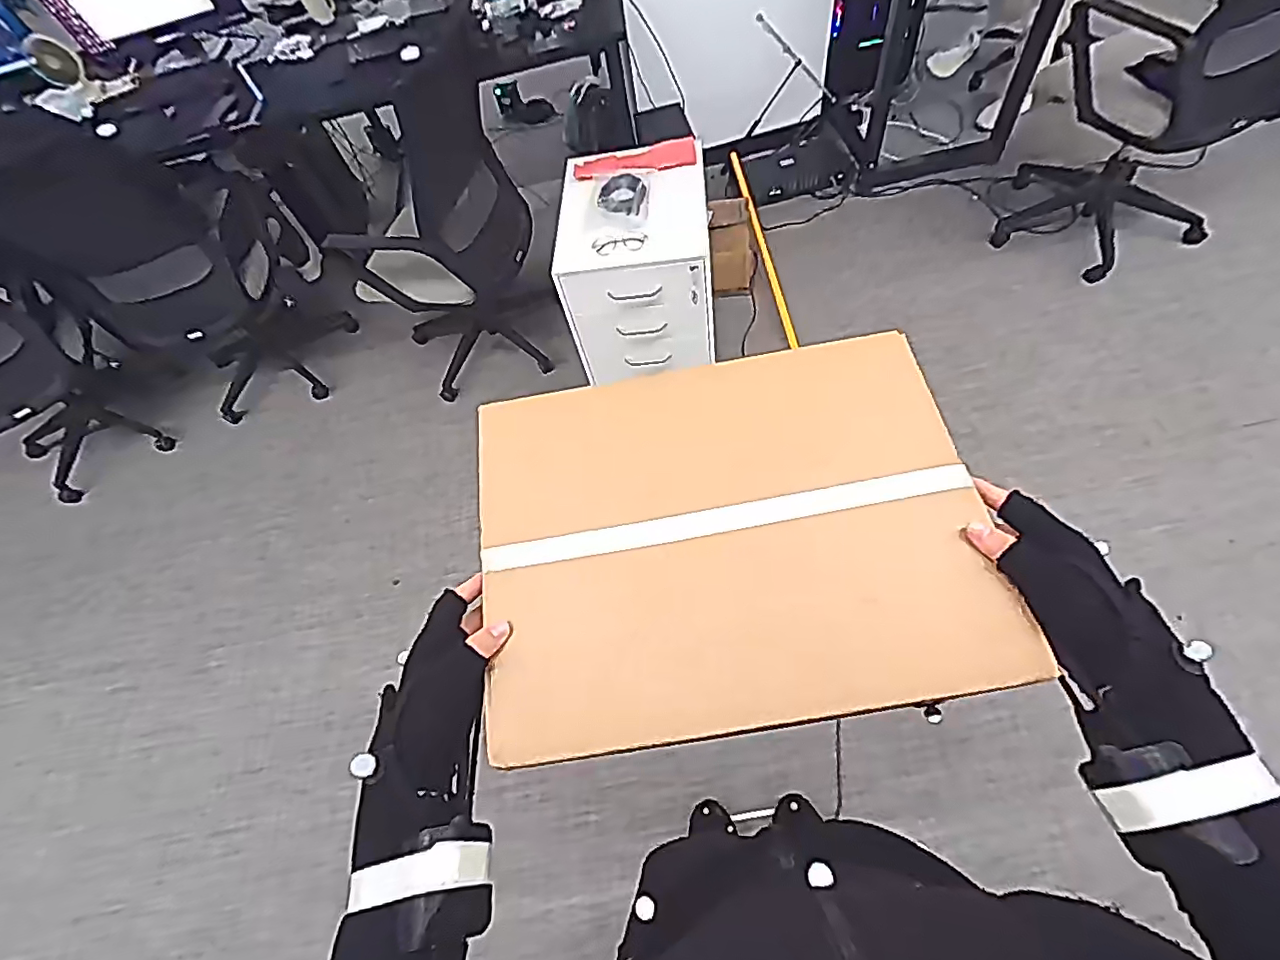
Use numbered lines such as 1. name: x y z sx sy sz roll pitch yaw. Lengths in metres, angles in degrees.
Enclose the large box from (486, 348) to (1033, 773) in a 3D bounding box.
1. large box: 0.084 0.105 0.590 0.408 0.320 0.320 -10 64 1
